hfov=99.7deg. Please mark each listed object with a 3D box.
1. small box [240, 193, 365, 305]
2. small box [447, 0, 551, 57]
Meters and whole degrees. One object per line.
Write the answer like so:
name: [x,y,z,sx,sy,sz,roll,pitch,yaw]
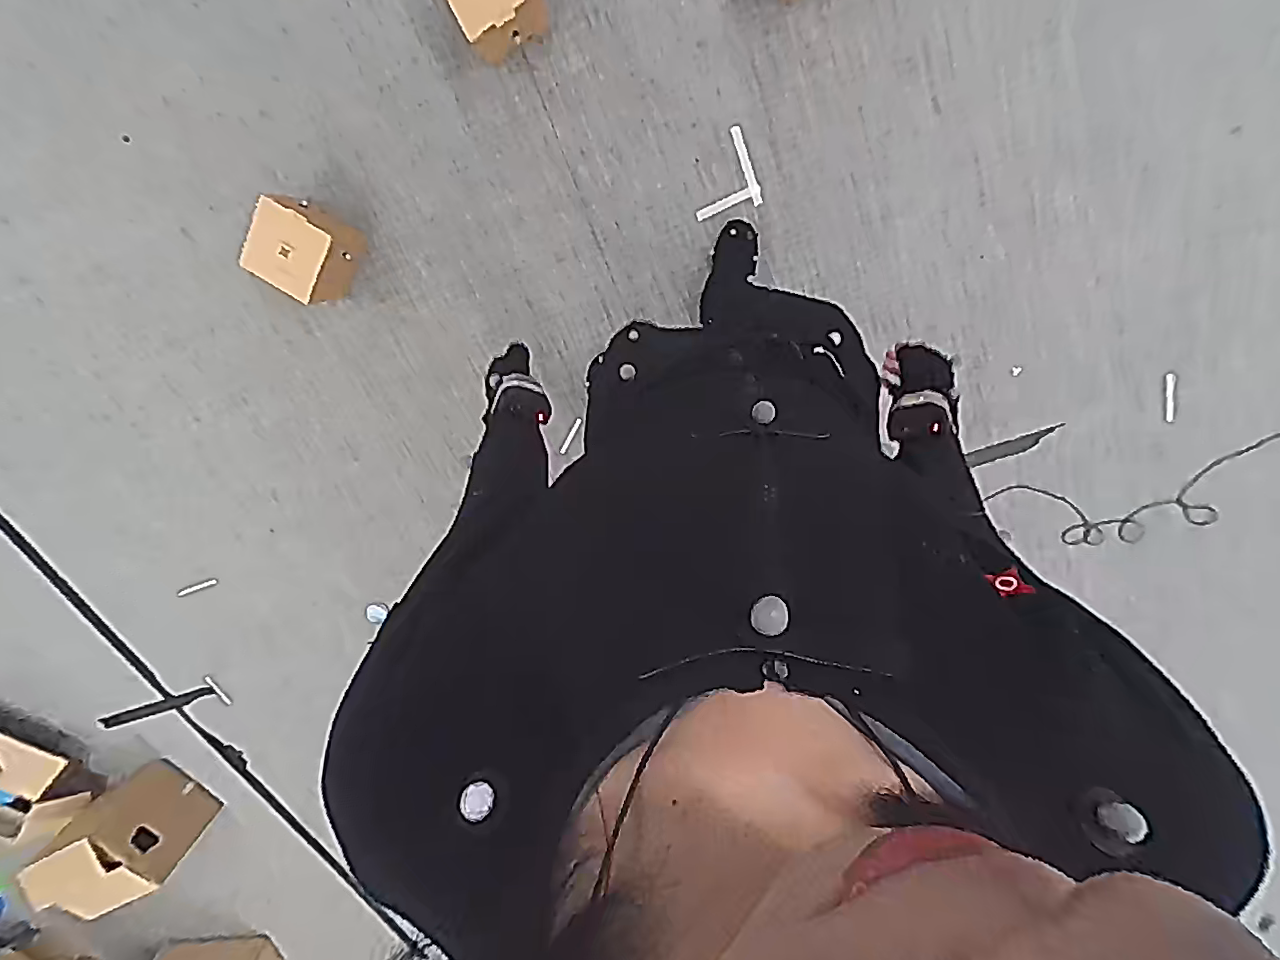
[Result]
small box: [-0.782,-0.540,1.271,0.168,0.176,0.179,31,111,-10]
small box: [-0.295,-0.979,1.065,0.168,0.176,0.179,-26,111,12]
